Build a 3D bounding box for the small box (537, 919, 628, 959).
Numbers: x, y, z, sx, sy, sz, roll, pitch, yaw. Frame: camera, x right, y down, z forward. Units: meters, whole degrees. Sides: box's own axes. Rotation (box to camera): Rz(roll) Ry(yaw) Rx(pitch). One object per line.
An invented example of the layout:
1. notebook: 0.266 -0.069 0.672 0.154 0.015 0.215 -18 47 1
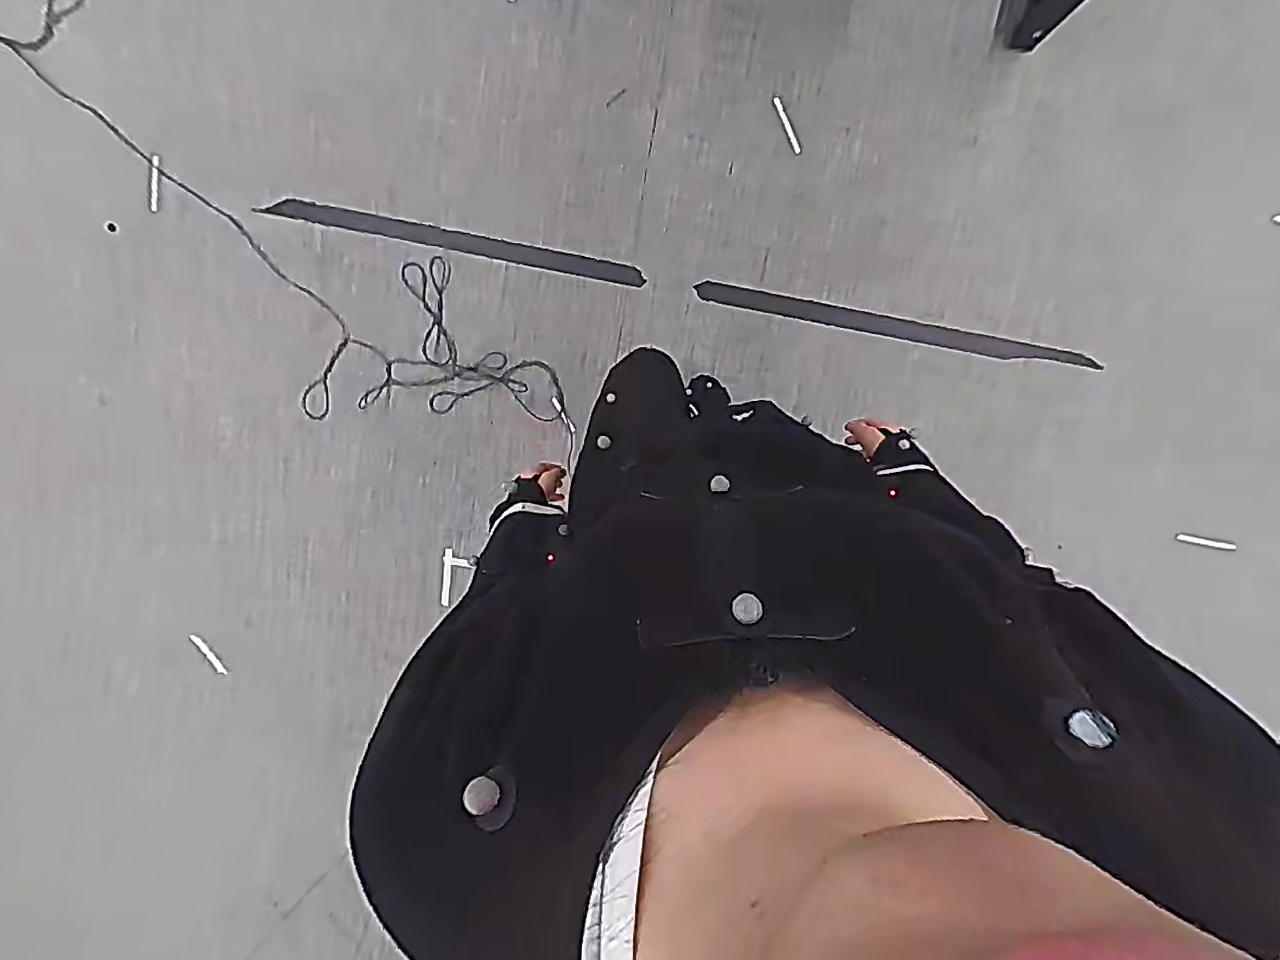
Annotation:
1. small box: -0.120 0.948 0.971 0.168 0.176 0.179 15 100 0
